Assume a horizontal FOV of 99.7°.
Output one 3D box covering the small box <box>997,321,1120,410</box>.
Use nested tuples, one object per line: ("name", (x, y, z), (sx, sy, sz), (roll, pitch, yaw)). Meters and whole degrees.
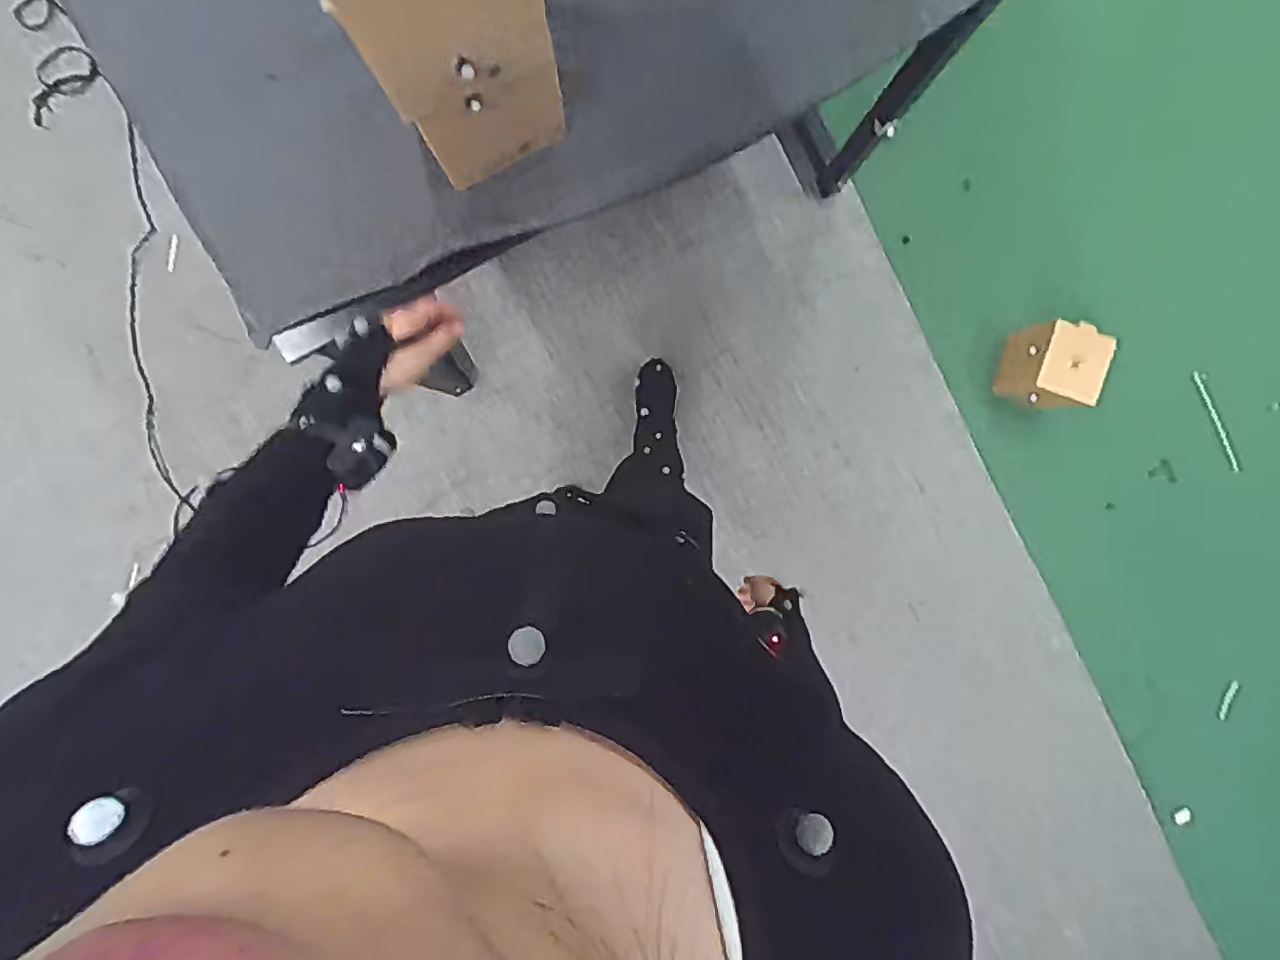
("small box", (1.085, -0.291, 1.420), (0.168, 0.176, 0.179), (18, 92, -3))

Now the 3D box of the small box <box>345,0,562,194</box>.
("small box", (-0.207, -0.479, 0.627), (0.168, 0.176, 0.179), (-28, 93, 0))
